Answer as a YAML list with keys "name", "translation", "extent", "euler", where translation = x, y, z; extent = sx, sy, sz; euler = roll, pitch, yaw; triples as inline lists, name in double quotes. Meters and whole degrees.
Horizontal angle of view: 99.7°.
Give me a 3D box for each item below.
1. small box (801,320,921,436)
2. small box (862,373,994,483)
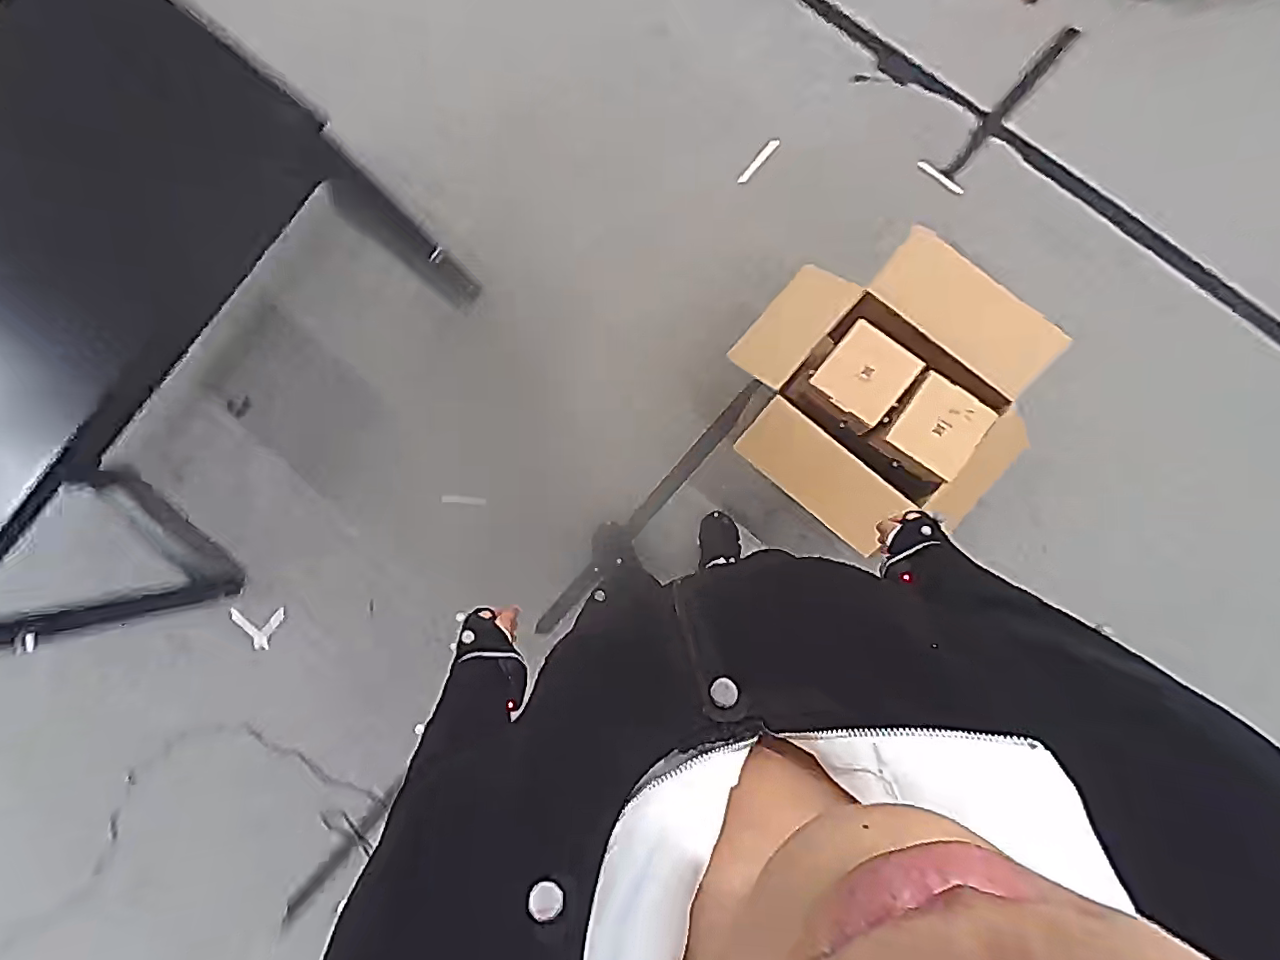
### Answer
- name: "small box"
  translation: [0.483, -0.220, 1.219]
  extent: [0.168, 0.176, 0.179]
  euler: [39, 90, 7]
- name: "small box"
  translation: [0.624, -0.110, 1.205]
  extent: [0.168, 0.176, 0.179]
  euler: [35, 92, 1]
